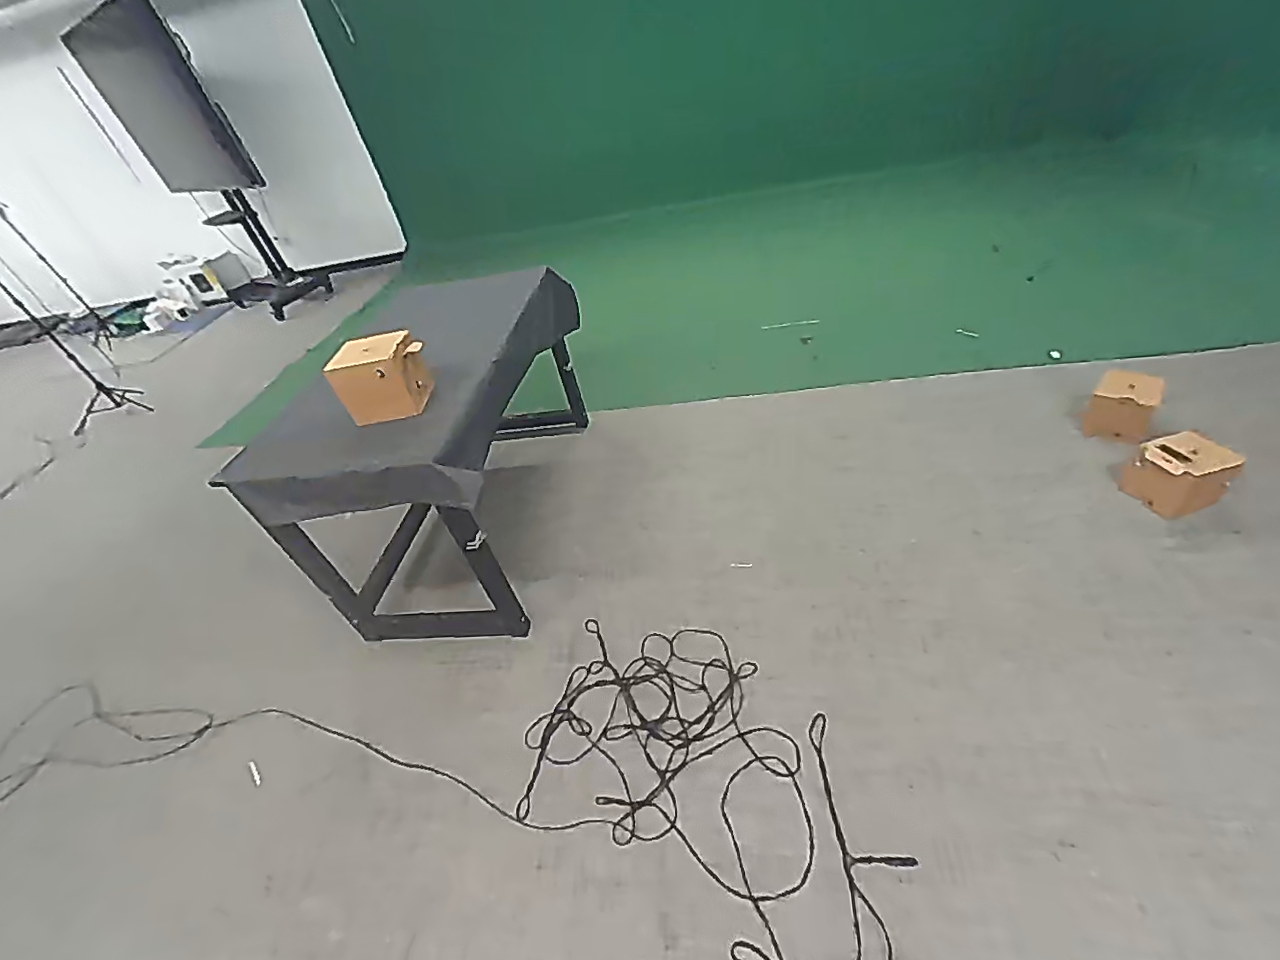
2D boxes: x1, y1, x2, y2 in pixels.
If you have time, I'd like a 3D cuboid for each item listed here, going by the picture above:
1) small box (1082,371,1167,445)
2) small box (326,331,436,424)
[{"bbox_3d":[1.658,-0.245,1.858,0.168,0.176,0.179,25,52,36],"label":"small box"},{"bbox_3d":[-0.665,-0.263,1.412,0.179,0.176,0.168,-10,39,5],"label":"small box"}]
